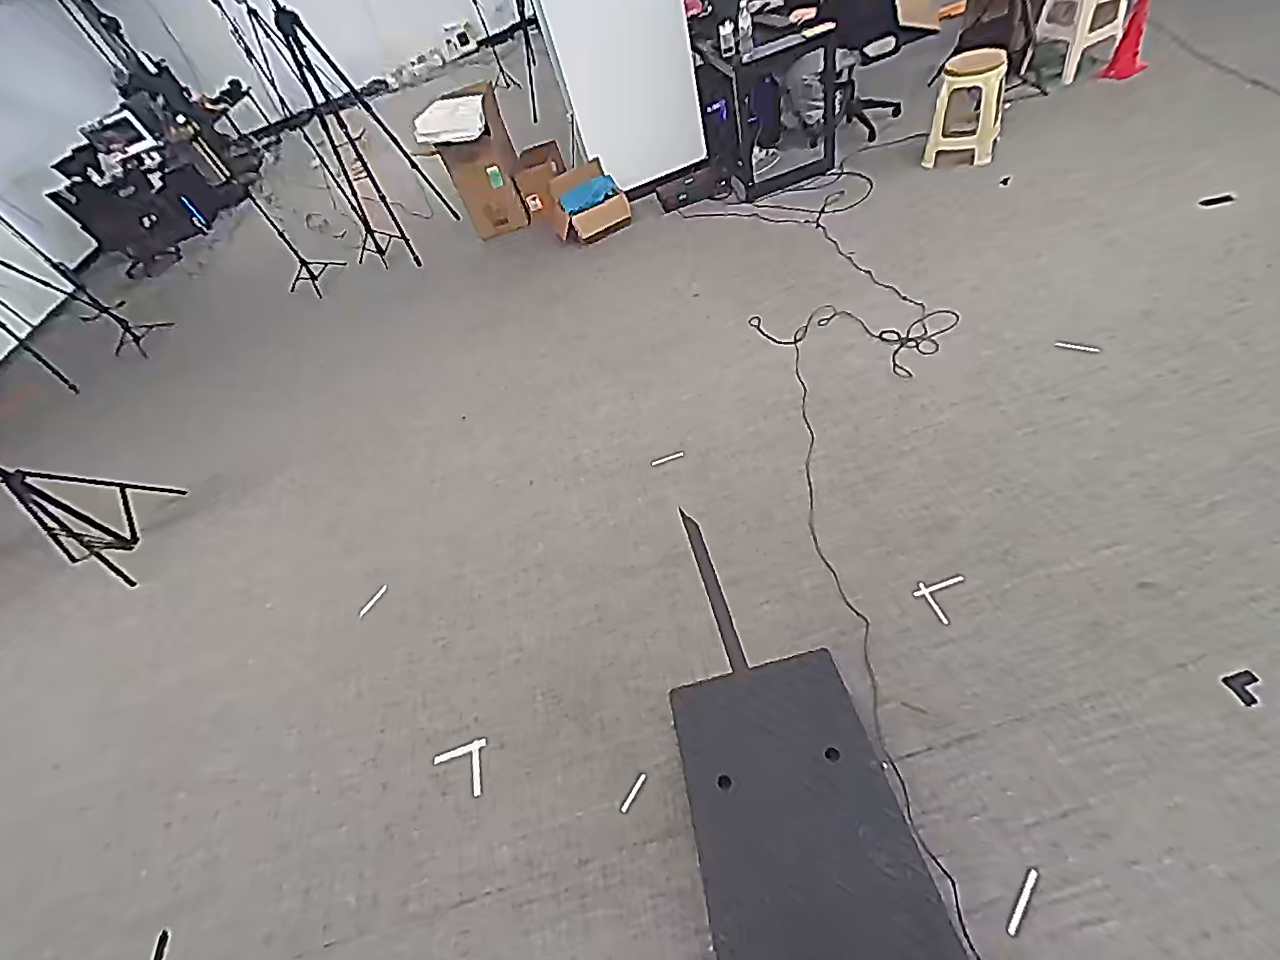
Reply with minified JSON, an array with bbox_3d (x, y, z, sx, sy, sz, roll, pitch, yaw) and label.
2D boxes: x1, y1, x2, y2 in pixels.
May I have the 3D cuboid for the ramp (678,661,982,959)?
[{"bbox_3d":[0.405,0.899,1.211,0.509,0.206,0.991,-21,46,4],"label":"ramp"}]
